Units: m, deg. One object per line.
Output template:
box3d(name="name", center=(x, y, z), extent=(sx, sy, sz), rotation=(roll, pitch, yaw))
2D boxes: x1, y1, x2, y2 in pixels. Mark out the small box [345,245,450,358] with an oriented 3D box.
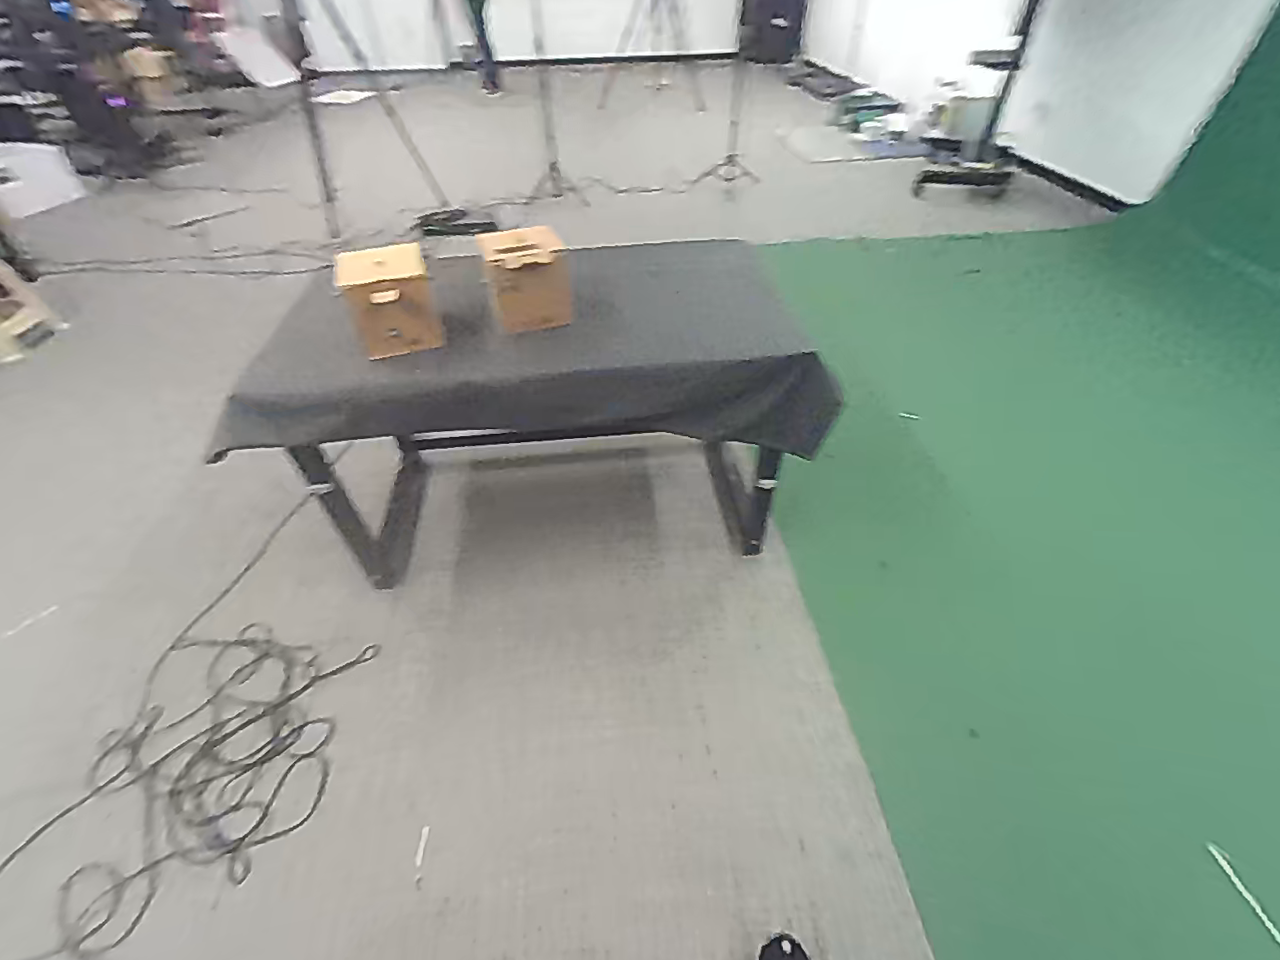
box3d(name="small box", center=(-0.526, -0.390, 1.181), extent=(0.168, 0.176, 0.179), rotation=(-15, 47, -15))
